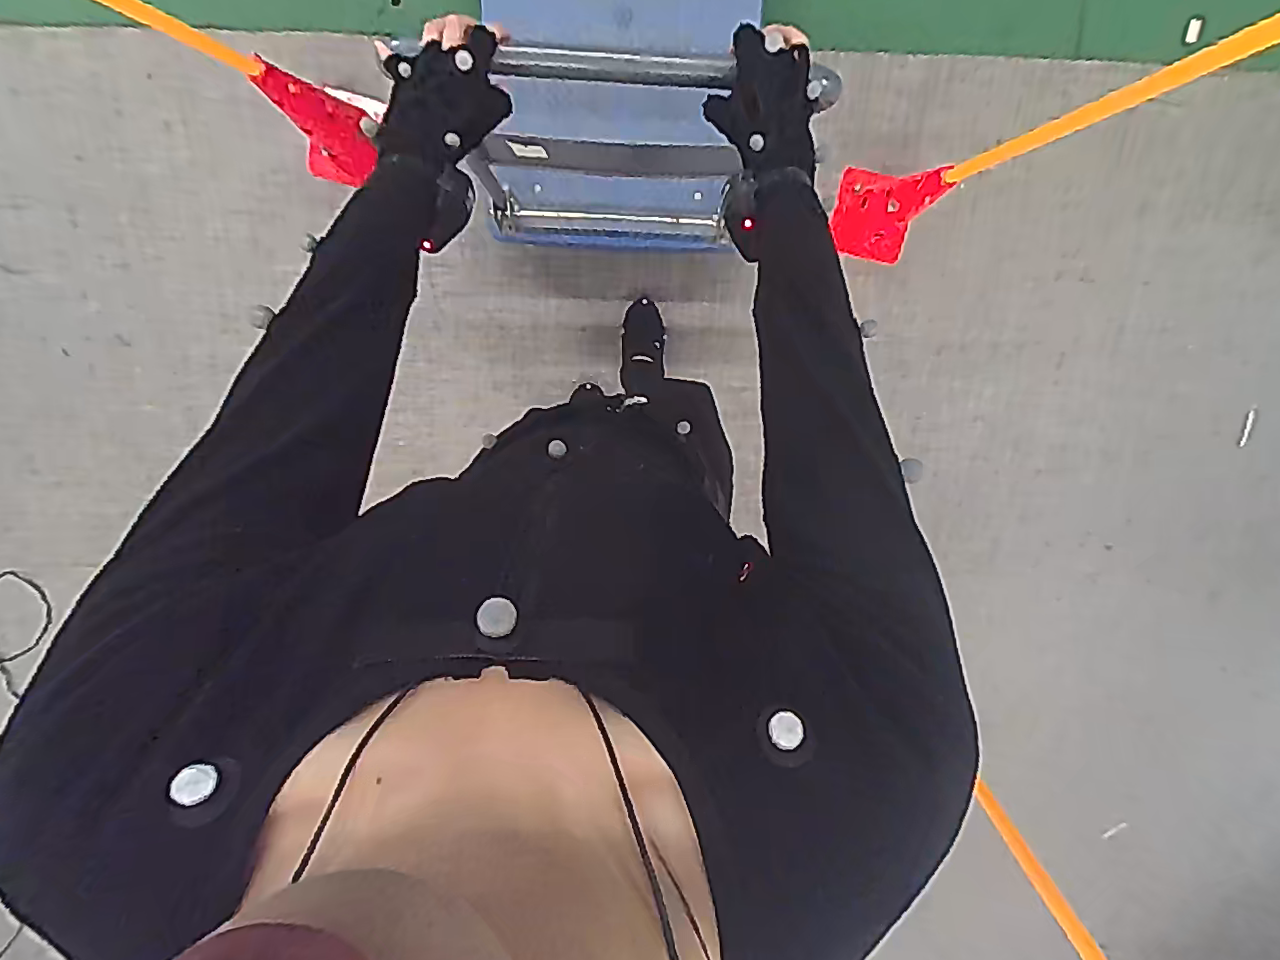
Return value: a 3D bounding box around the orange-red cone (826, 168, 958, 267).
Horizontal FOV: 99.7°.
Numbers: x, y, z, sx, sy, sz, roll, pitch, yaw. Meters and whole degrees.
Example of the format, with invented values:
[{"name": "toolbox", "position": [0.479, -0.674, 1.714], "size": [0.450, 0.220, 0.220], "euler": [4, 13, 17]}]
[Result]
[{"name": "orange-red cone", "position": [0.589, -0.618, 1.204], "size": [0.198, 0.360, 0.199], "euler": [12, 104, -4]}]
